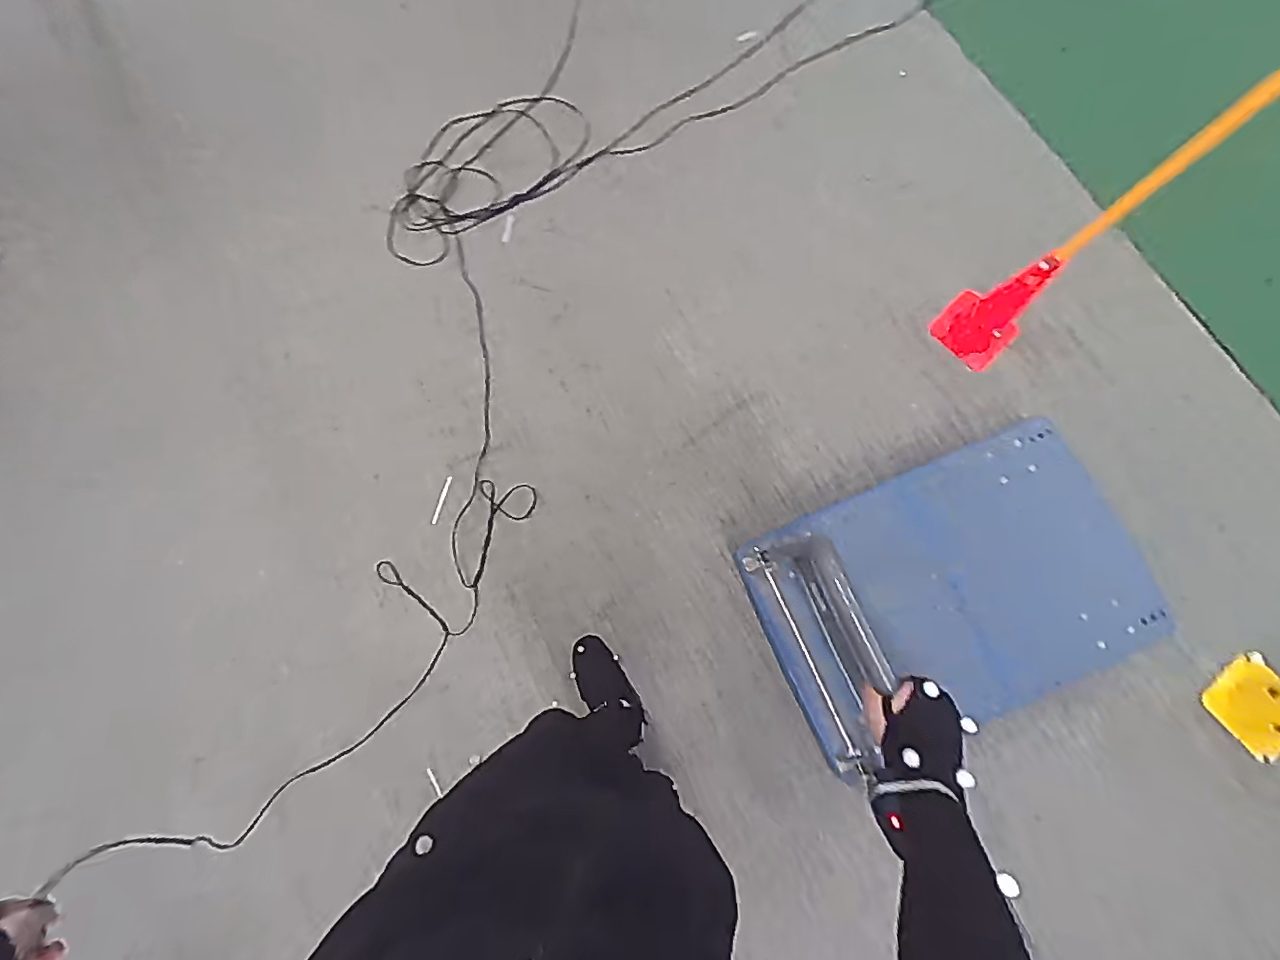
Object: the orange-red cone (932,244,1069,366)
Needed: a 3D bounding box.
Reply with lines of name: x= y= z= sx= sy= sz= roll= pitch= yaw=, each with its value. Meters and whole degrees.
orange-red cone: x=0.981 y=-0.491 z=1.425 sx=0.198 sy=0.360 sz=0.199 roll=-42 pitch=78 yaw=-8
